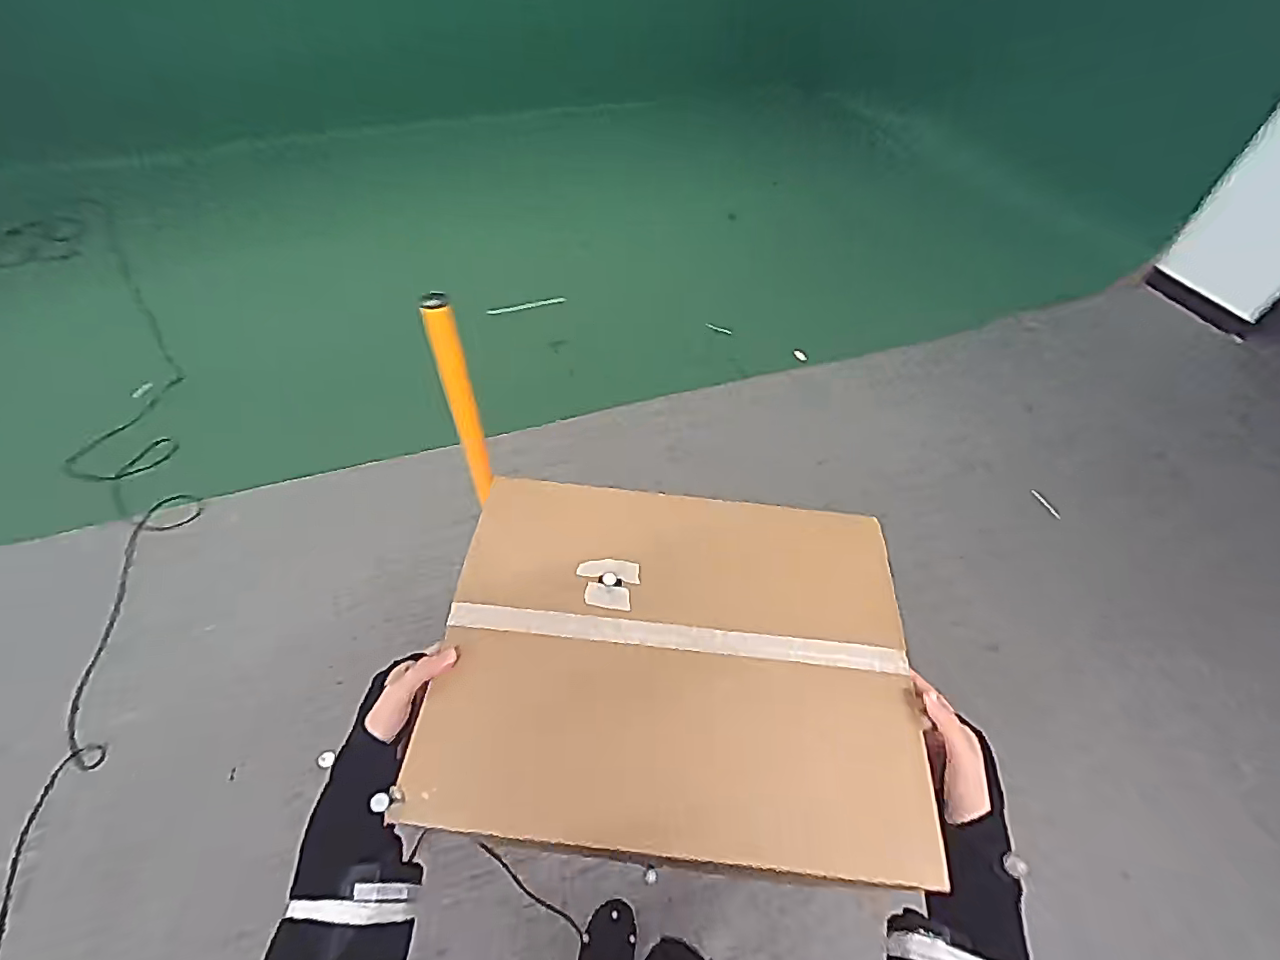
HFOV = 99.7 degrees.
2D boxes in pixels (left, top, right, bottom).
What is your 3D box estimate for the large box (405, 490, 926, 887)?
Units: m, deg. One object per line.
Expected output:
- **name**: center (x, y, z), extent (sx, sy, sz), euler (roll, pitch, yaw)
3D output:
- **large box**: center (0.030, 0.239, 0.611), extent (0.408, 0.320, 0.320), euler (7, 54, 3)
